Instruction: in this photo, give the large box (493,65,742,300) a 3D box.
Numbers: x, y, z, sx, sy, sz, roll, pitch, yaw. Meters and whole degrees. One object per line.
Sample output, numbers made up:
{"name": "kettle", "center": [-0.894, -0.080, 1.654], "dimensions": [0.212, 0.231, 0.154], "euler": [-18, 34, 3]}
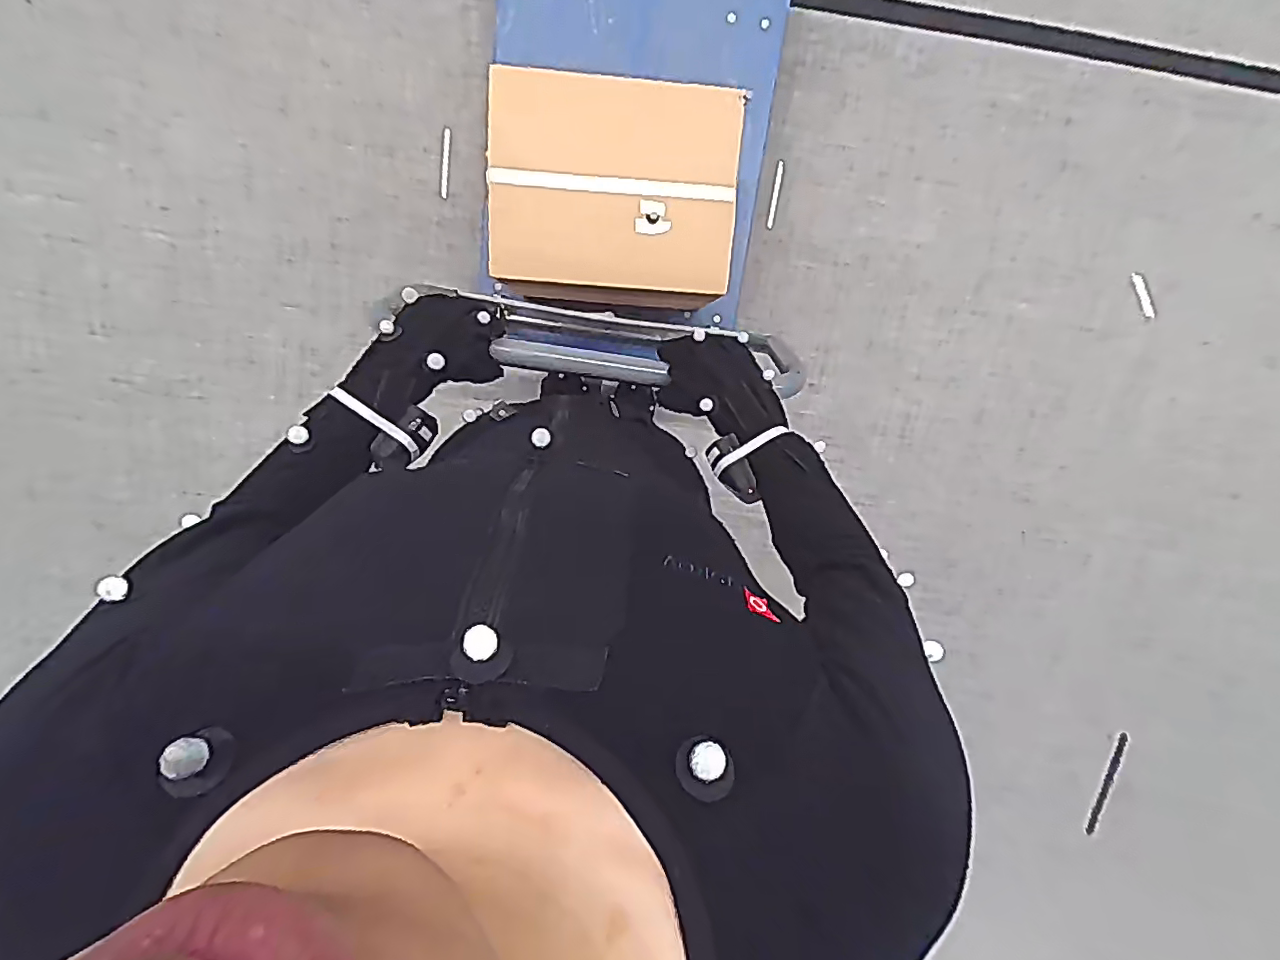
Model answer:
{"name": "large box", "center": [-0.050, -0.529, 1.038], "dimensions": [0.408, 0.320, 0.320], "euler": [2, 104, -4]}
